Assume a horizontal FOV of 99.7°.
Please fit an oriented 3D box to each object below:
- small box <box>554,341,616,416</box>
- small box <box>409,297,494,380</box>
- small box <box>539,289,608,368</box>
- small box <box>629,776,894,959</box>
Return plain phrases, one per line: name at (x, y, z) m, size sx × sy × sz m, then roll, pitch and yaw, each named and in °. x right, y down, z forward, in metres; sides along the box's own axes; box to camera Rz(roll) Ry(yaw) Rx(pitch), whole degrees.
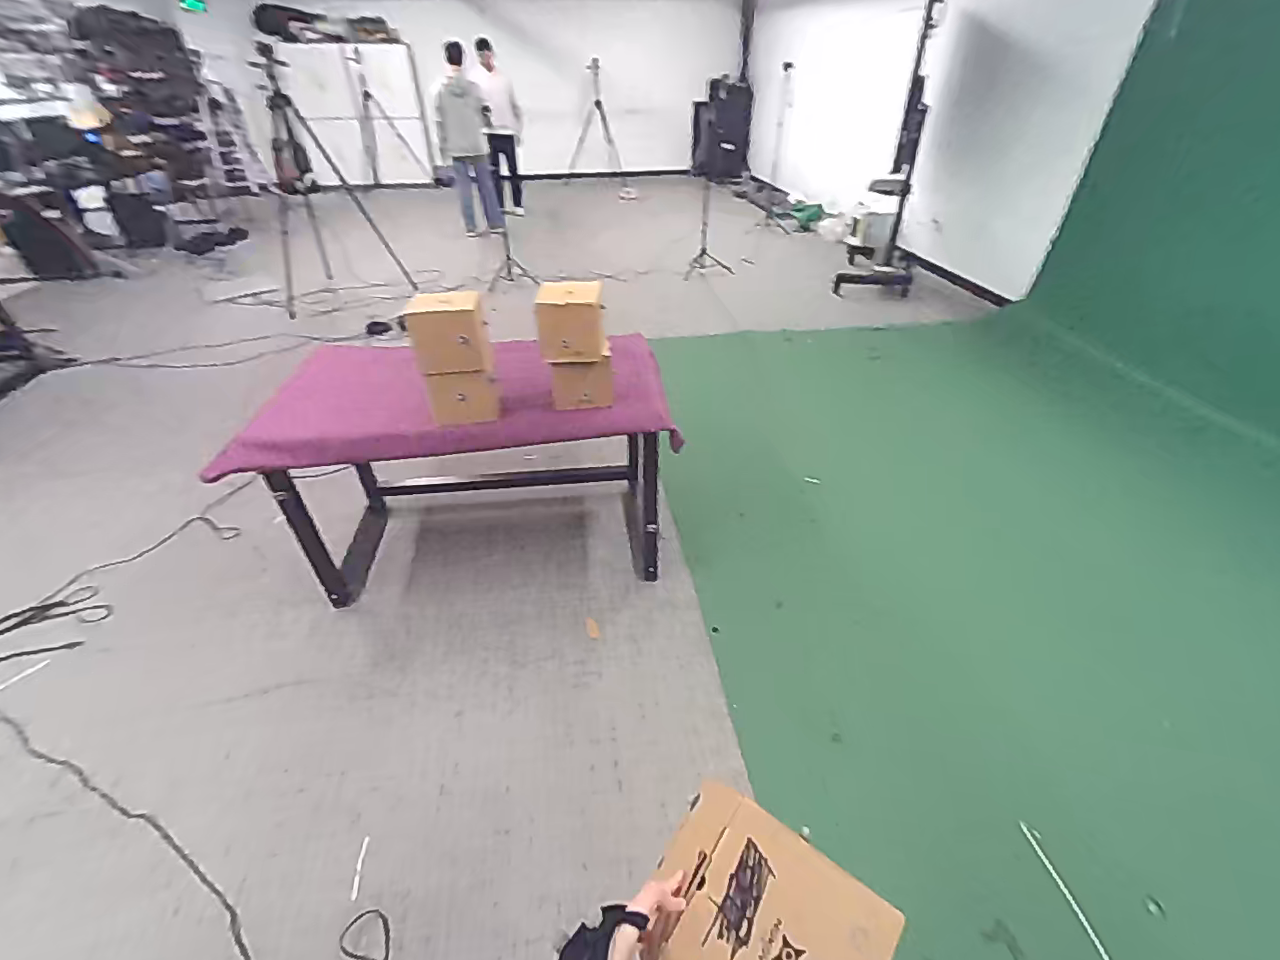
small box at (-0.166, -0.308, 1.634) m, size 0.179 × 0.176 × 0.168 m, roll -5°, pitch 35°, yaw -5°
small box at (-0.502, -0.385, 1.472) m, size 0.179 × 0.176 × 0.168 m, roll -6°, pitch 35°, yaw -4°
small box at (-0.181, -0.428, 1.522) m, size 0.168 × 0.176 × 0.179 m, roll -1°, pitch 37°, yaw 2°
small box at (0.102, 0.420, 0.534) m, size 0.179 × 0.176 × 0.168 m, roll 34°, pitch 68°, yaw 9°
